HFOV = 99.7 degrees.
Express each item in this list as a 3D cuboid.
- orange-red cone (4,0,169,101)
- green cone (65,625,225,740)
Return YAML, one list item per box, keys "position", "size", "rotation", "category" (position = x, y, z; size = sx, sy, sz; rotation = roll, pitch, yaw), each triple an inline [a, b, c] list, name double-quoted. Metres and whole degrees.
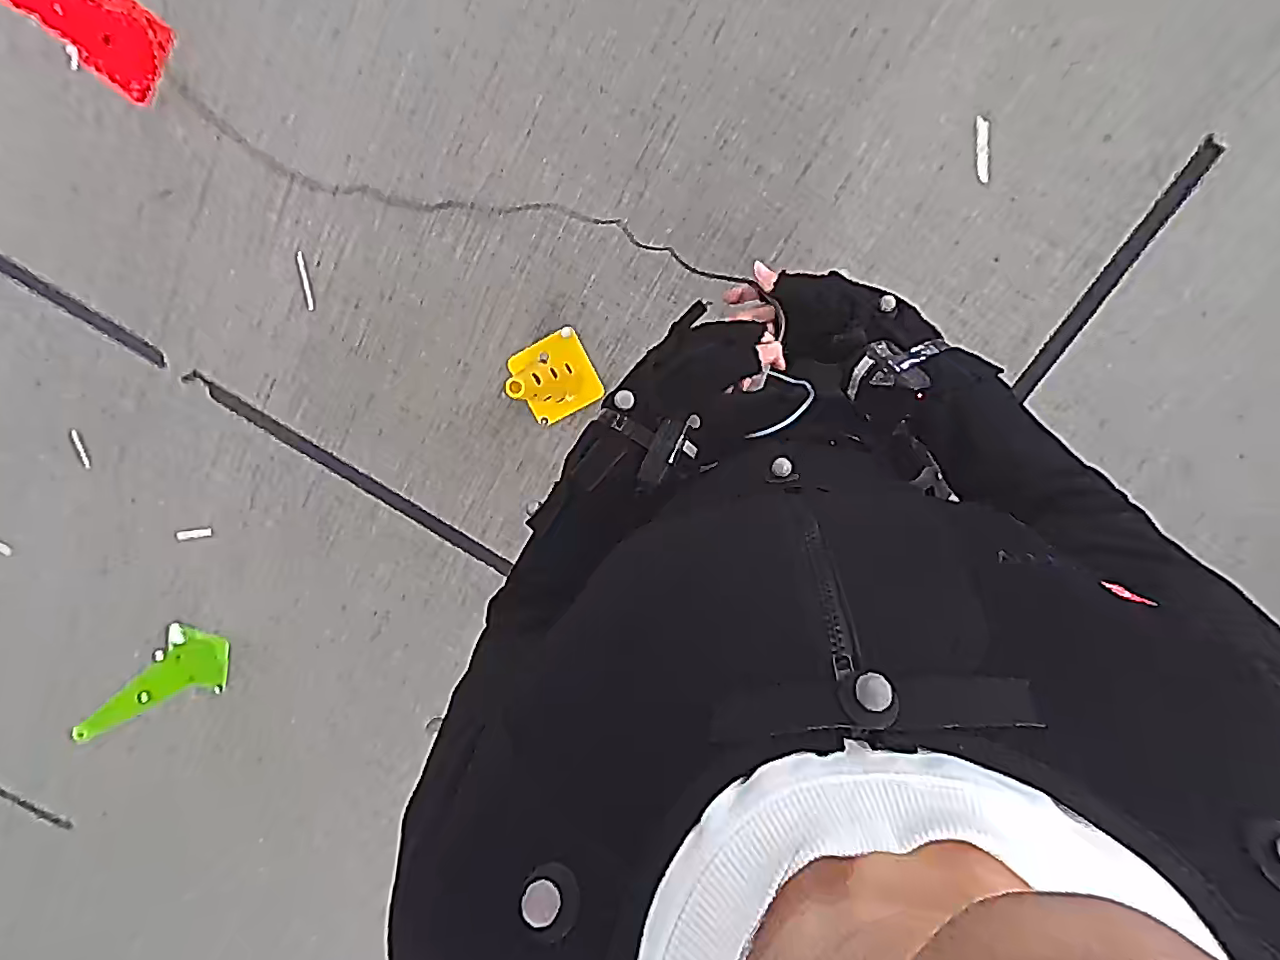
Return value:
- position: [-1.264, -1.012, 1.139]
  size: [0.199, 0.360, 0.198]
  rotation: [38, 105, -6]
  category: "orange-red cone"
- position: [-1.442, 0.612, 1.565]
  size: [0.202, 0.368, 0.200]
  rotation: [16, 104, 2]
  category: "green cone"
